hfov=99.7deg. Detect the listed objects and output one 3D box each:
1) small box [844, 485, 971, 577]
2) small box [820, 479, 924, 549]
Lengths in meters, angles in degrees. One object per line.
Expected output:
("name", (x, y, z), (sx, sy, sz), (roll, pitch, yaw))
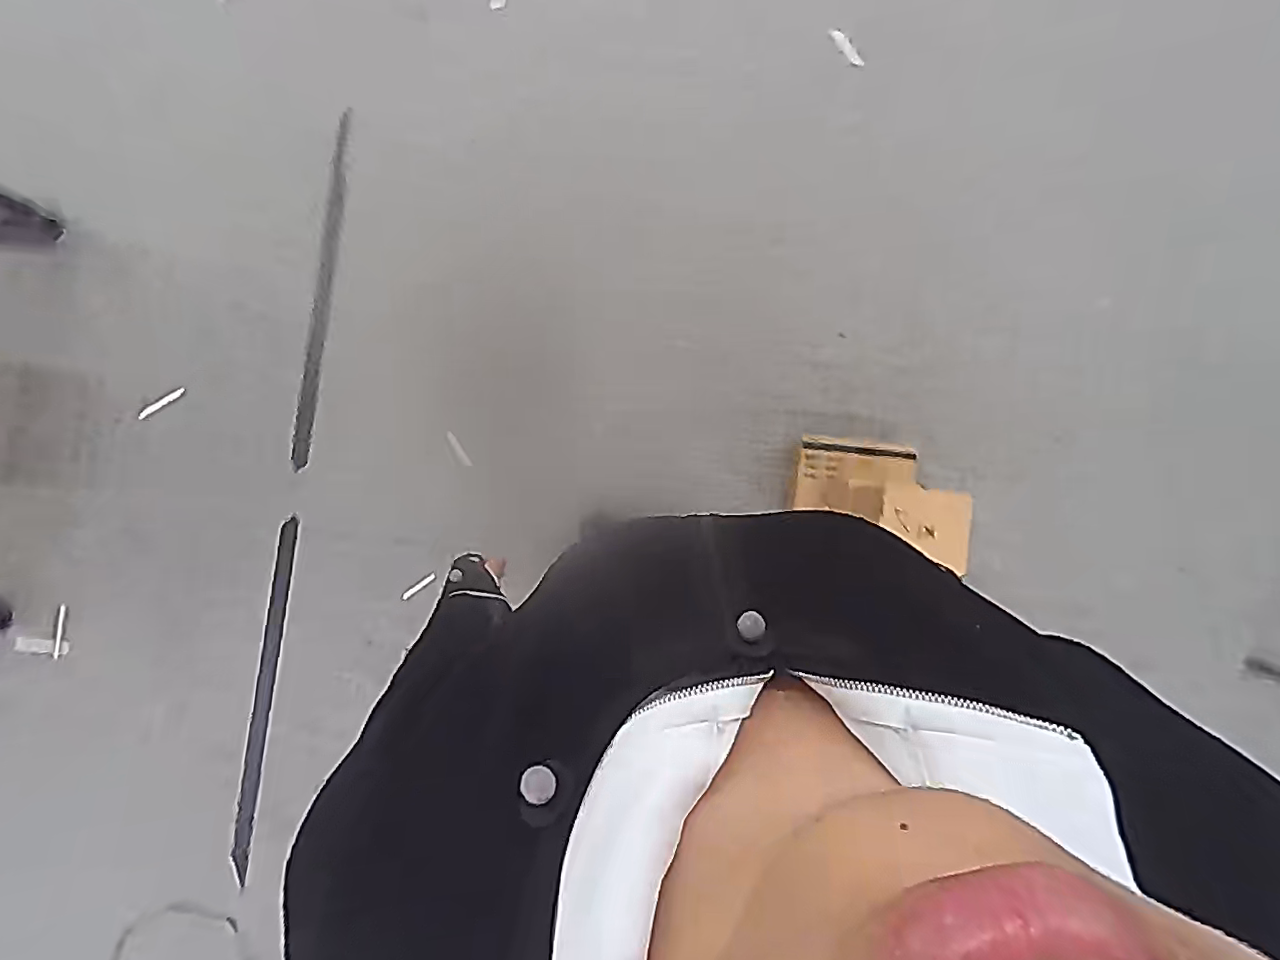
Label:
("small box", (0.557, 0.102, 1.144), (0.179, 0.176, 0.168), (7, 89, 1))
("small box", (0.555, 0.087, 1.310), (0.179, 0.176, 0.168), (5, 89, 2))
